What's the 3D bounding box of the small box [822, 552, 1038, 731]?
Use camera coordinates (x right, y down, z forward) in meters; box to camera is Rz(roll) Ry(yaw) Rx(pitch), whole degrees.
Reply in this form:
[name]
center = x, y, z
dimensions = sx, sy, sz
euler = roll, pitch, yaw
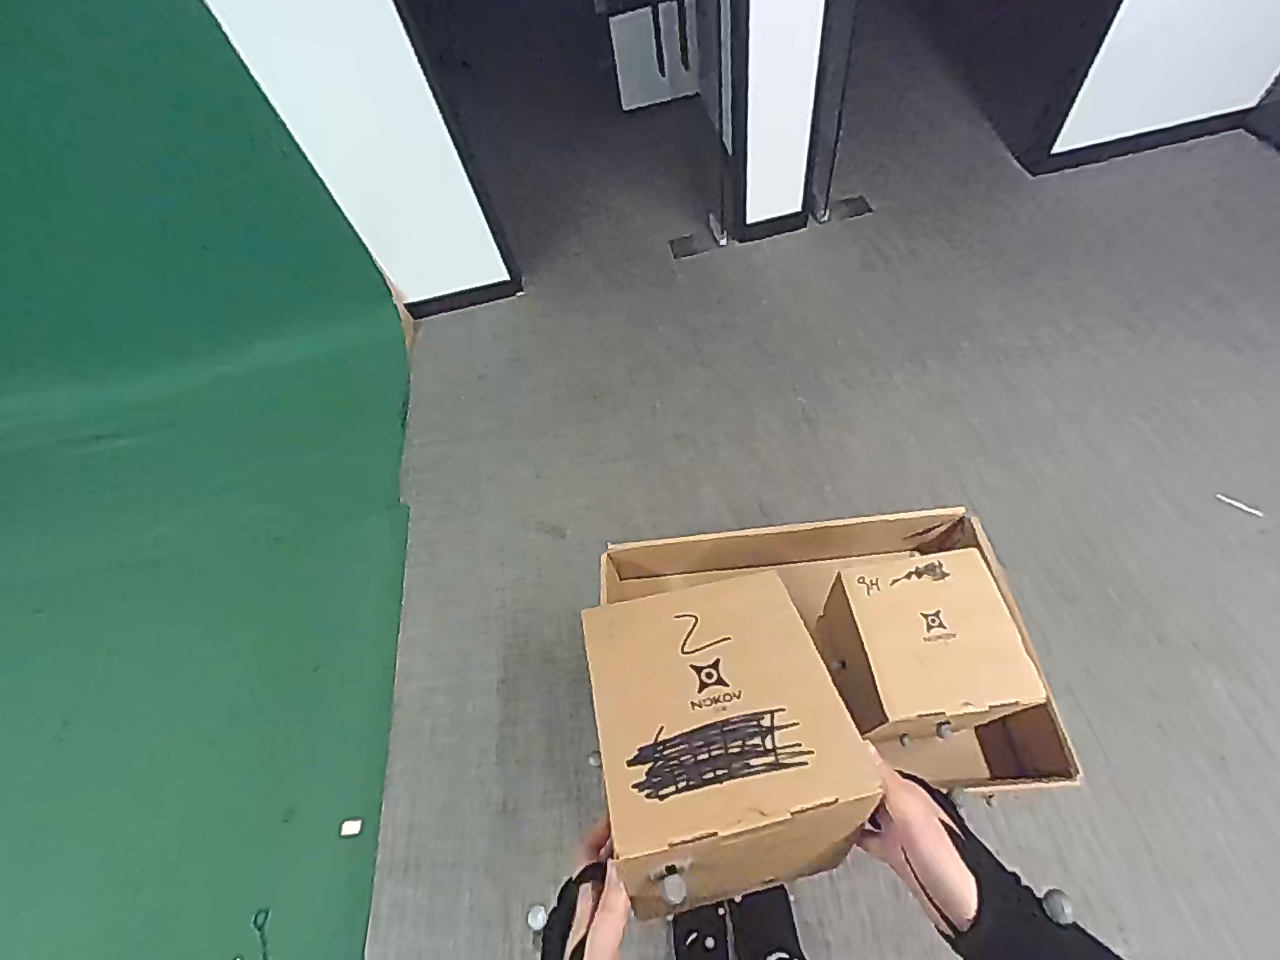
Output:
[small box]
center = 0.340, 0.210, 0.677
dimensions = 0.168, 0.176, 0.179
euler = -9, 59, 4
